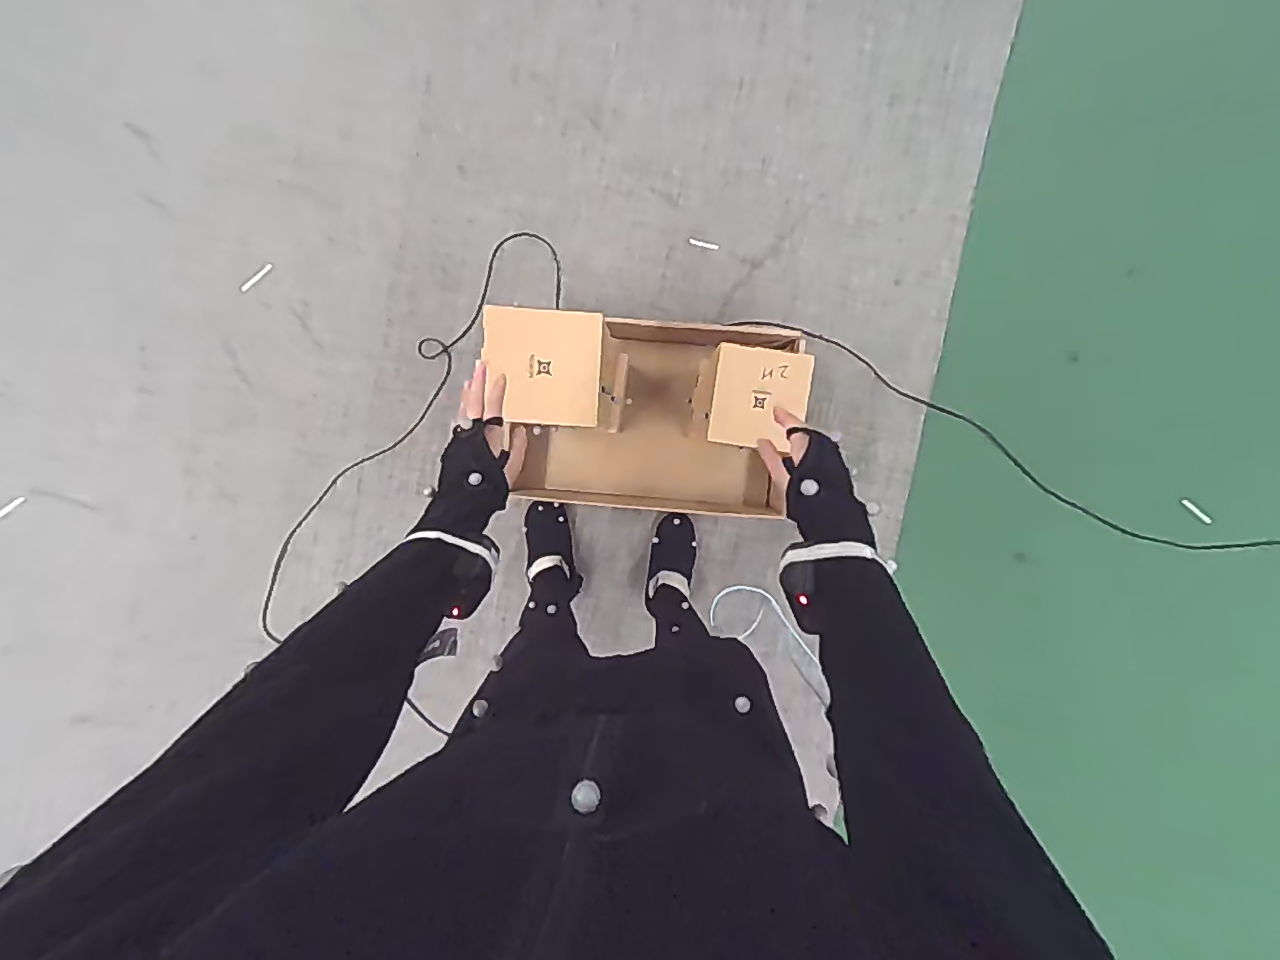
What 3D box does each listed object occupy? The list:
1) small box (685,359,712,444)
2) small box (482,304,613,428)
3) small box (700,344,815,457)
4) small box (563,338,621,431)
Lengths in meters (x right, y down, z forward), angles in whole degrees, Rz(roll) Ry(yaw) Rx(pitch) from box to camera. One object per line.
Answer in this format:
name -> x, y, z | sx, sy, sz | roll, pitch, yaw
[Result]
small box -> 0.197, -0.158, 1.184 | 0.179, 0.176, 0.168 | 9, 94, 1
small box -> -0.138, -0.173, 0.861 | 0.179, 0.176, 0.168 | 4, 96, 1
small box -> 0.210, -0.143, 1.019 | 0.168, 0.176, 0.179 | 9, 93, -1
small box -> -0.137, -0.186, 1.022 | 0.179, 0.176, 0.168 | 9, 95, -1
